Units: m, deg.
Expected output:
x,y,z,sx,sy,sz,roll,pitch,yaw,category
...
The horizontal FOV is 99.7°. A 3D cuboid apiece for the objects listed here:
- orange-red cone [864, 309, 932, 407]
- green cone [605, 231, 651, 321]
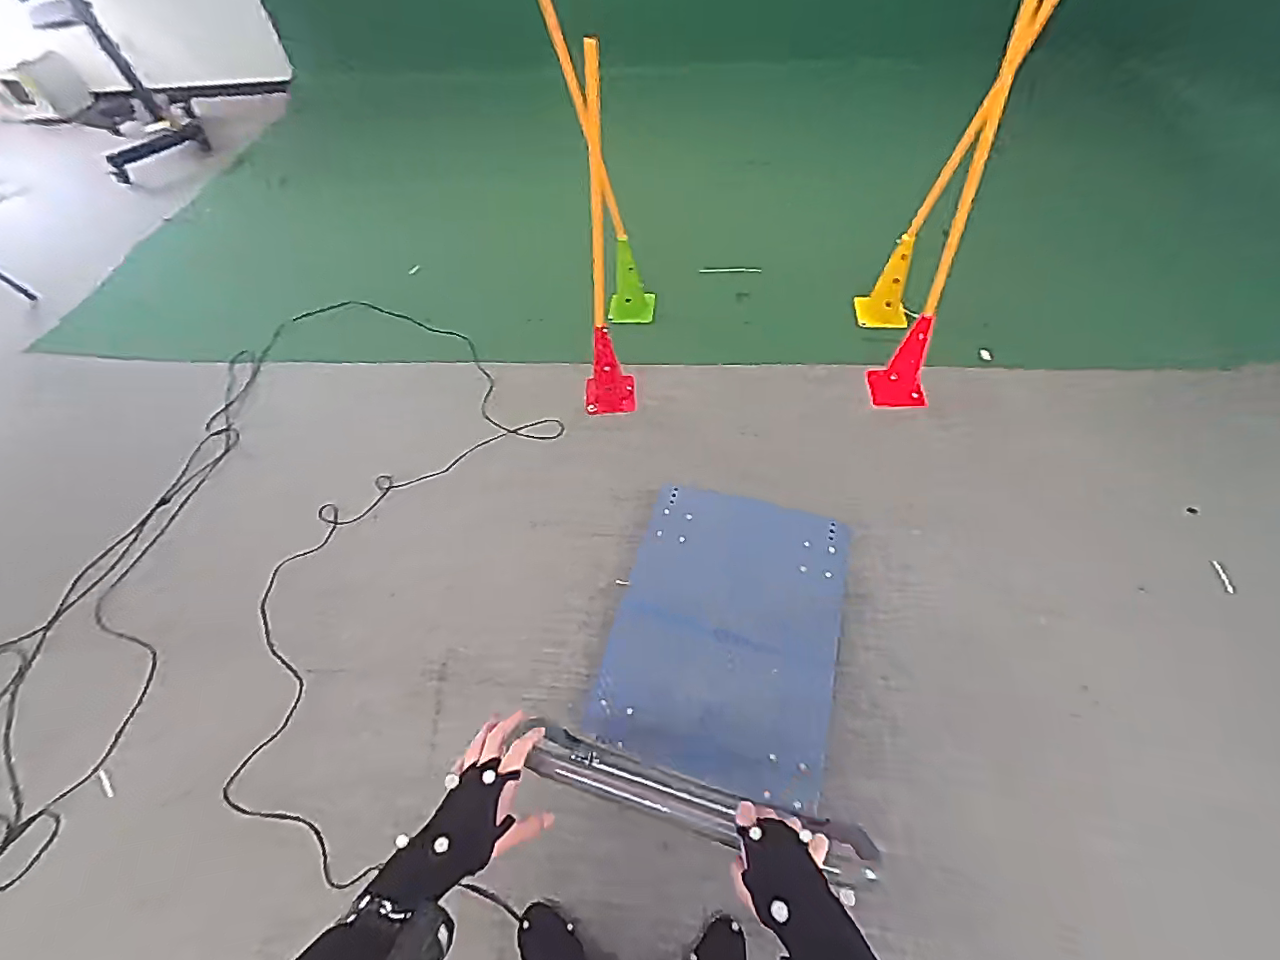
x,y,z,sx,sy,sz,roll,pitch,yaw,category
0.971,-0.461,1.957,0.198,0.360,0.199,2,54,5,orange-red cone
-0.068,-0.896,2.342,0.200,0.368,0.202,1,54,6,green cone
